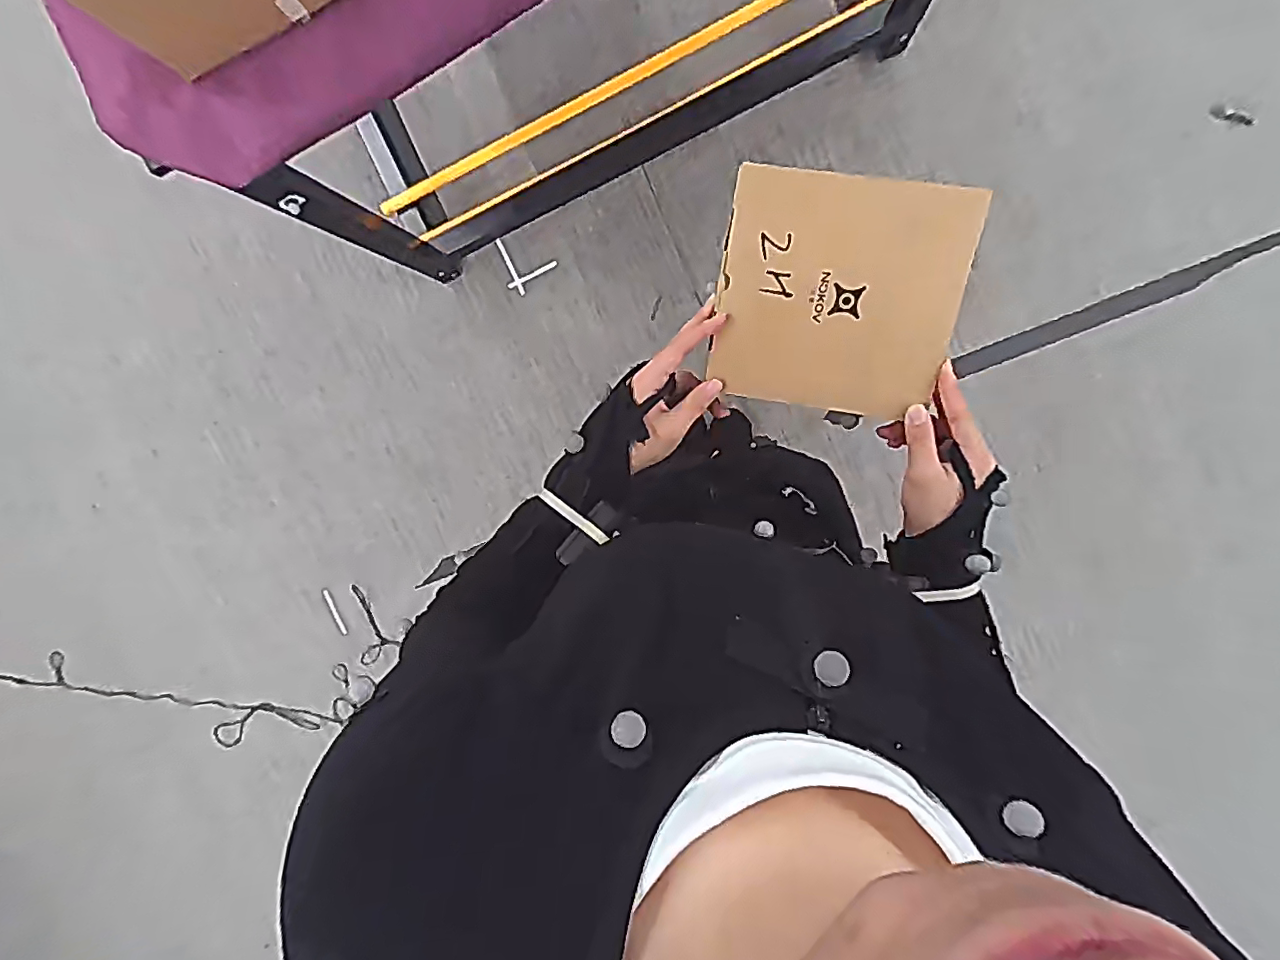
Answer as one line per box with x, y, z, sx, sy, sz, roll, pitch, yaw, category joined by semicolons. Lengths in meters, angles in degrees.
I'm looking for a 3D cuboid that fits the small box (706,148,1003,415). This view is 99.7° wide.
0.160;-0.162;0.469;0.179;0.176;0.168;10;106;7;small box
